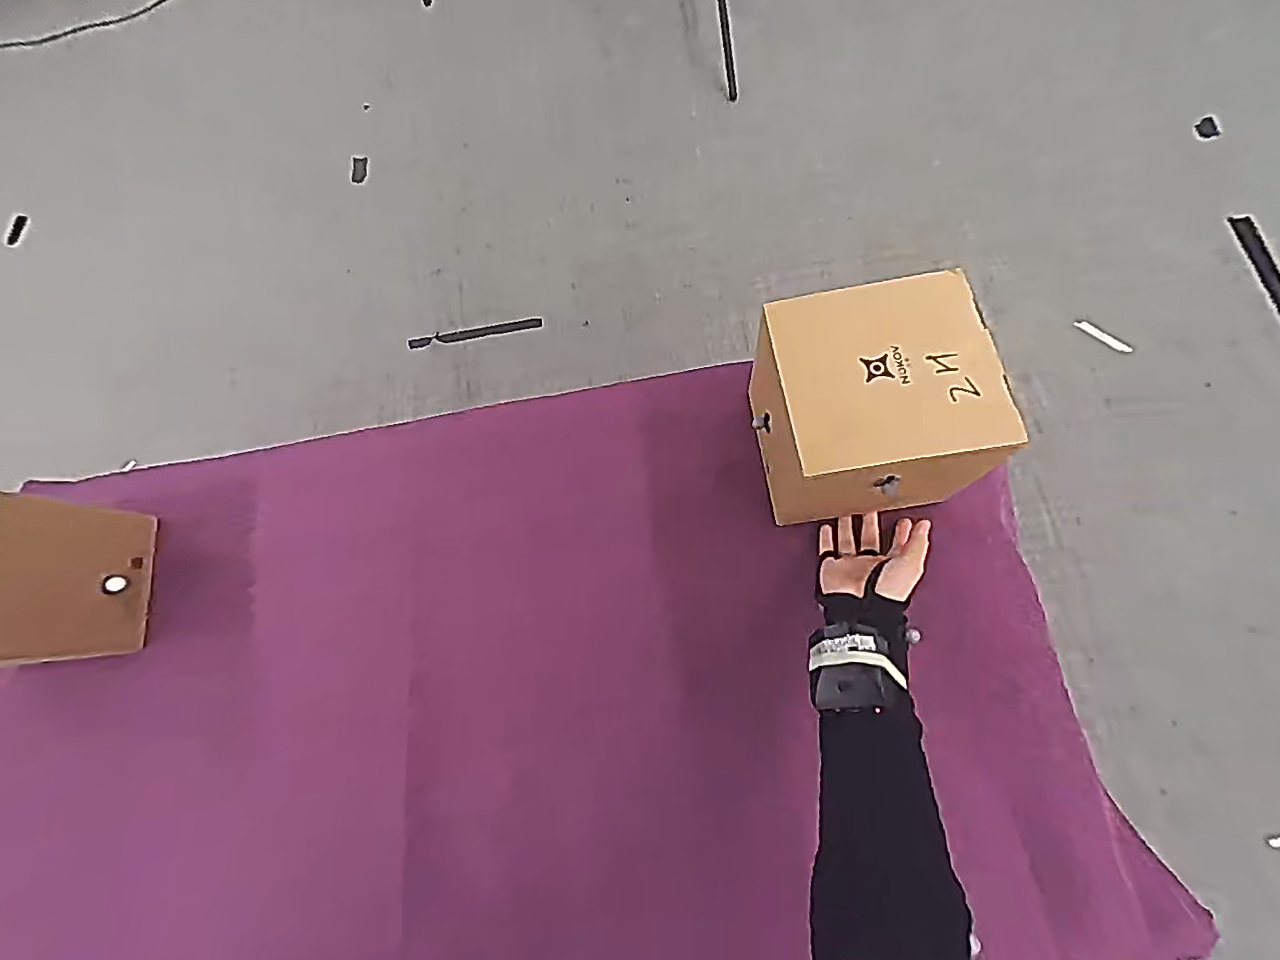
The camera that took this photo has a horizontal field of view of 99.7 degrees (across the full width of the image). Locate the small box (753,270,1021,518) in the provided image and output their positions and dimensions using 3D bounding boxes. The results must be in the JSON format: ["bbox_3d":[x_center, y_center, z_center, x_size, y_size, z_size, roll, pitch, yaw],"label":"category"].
[{"bbox_3d":[0.210,-0.069,0.523,0.179,0.176,0.168,-9,72,4],"label":"small box"}]

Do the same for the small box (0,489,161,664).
[{"bbox_3d":[-0.692,0.115,0.593,0.179,0.176,0.168,-7,77,4],"label":"small box"}]
